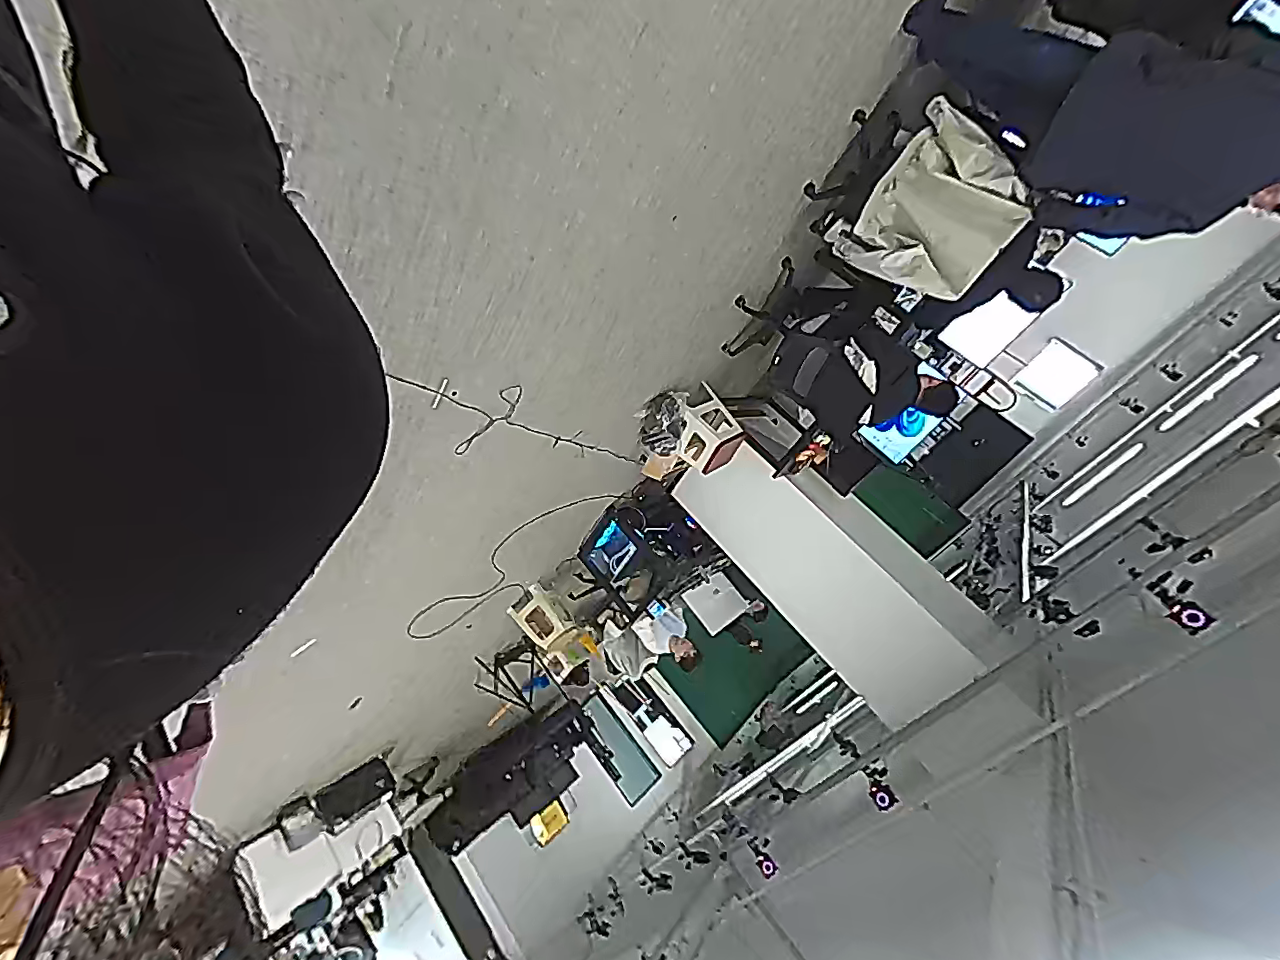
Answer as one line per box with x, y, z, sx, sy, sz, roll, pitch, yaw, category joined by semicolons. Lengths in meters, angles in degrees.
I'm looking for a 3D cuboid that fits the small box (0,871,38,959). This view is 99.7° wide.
-1.380;0.952;1.107;0.168;0.176;0.179;-12;145;-55;small box
